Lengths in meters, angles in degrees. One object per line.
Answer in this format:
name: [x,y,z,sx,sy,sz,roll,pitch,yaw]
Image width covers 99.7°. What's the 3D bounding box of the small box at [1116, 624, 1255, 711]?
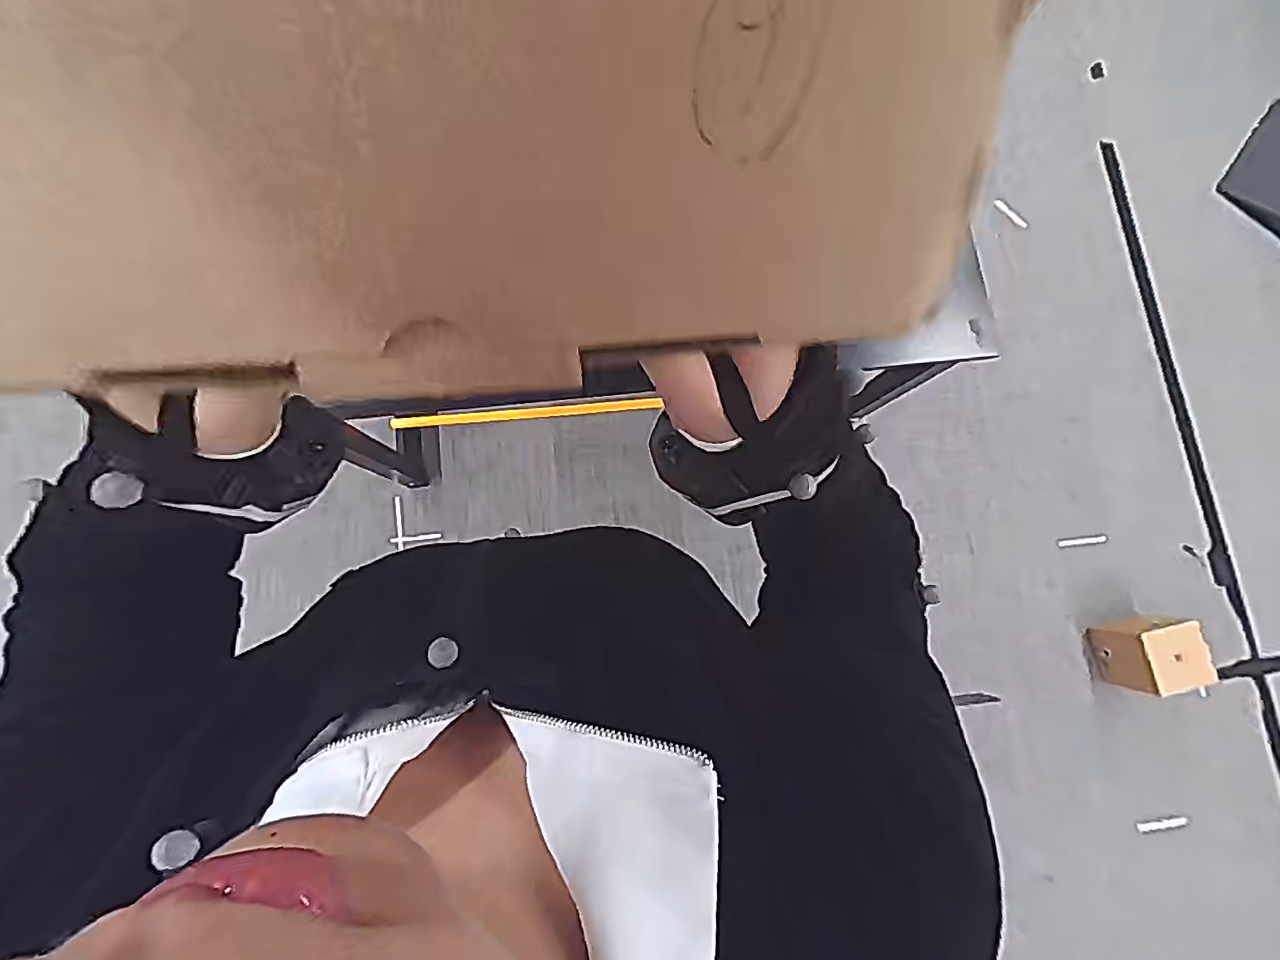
small box: [1.440,0.490,1.438,0.179,0.176,0.168,-13,82,-5]
